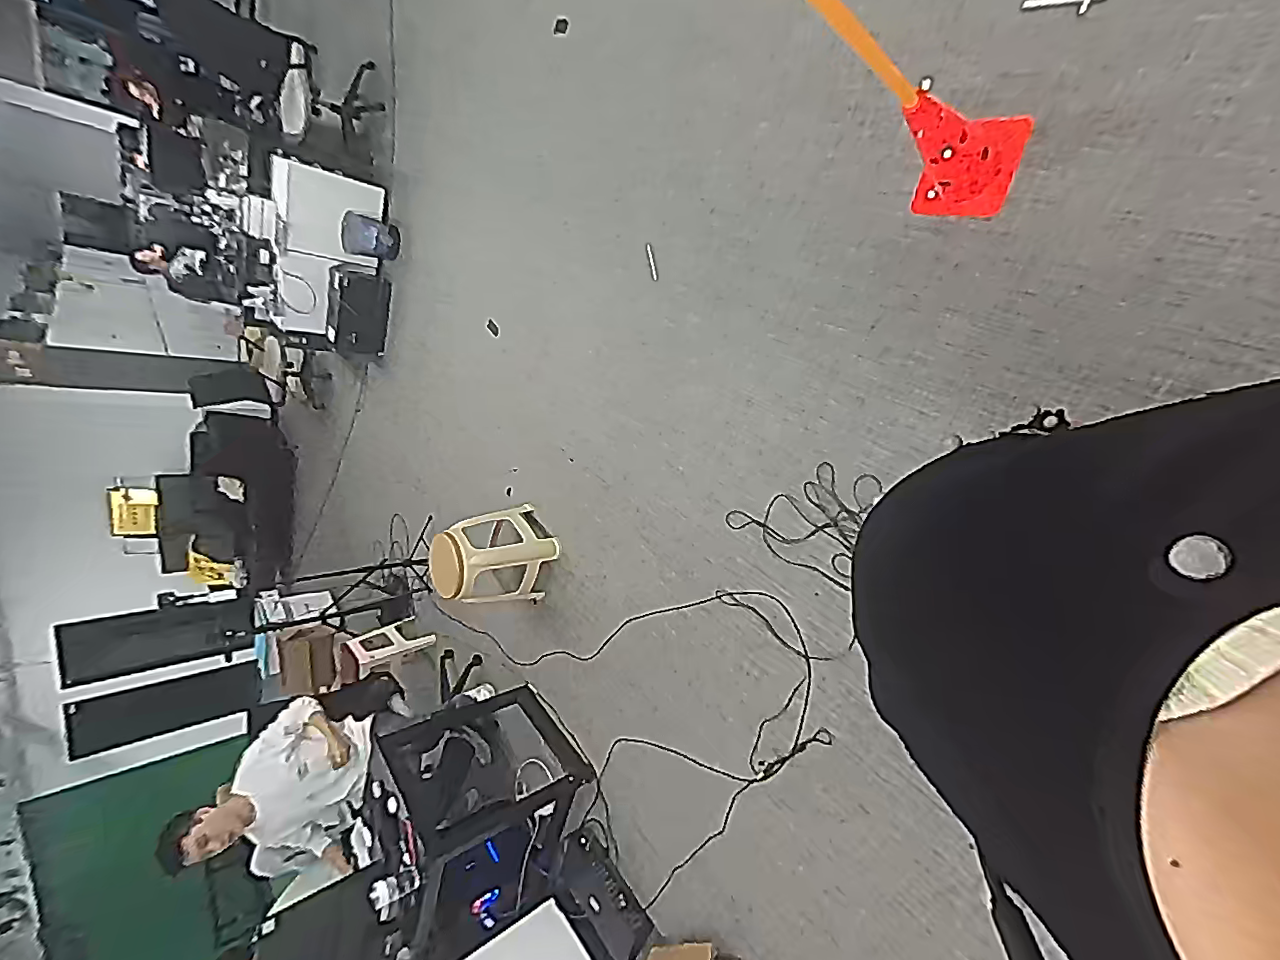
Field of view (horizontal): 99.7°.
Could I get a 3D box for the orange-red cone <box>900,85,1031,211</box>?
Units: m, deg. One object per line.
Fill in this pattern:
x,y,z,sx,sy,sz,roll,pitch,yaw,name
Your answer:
0.611,-0.701,1.090,0.199,0.360,0.198,29,114,40,orange-red cone
